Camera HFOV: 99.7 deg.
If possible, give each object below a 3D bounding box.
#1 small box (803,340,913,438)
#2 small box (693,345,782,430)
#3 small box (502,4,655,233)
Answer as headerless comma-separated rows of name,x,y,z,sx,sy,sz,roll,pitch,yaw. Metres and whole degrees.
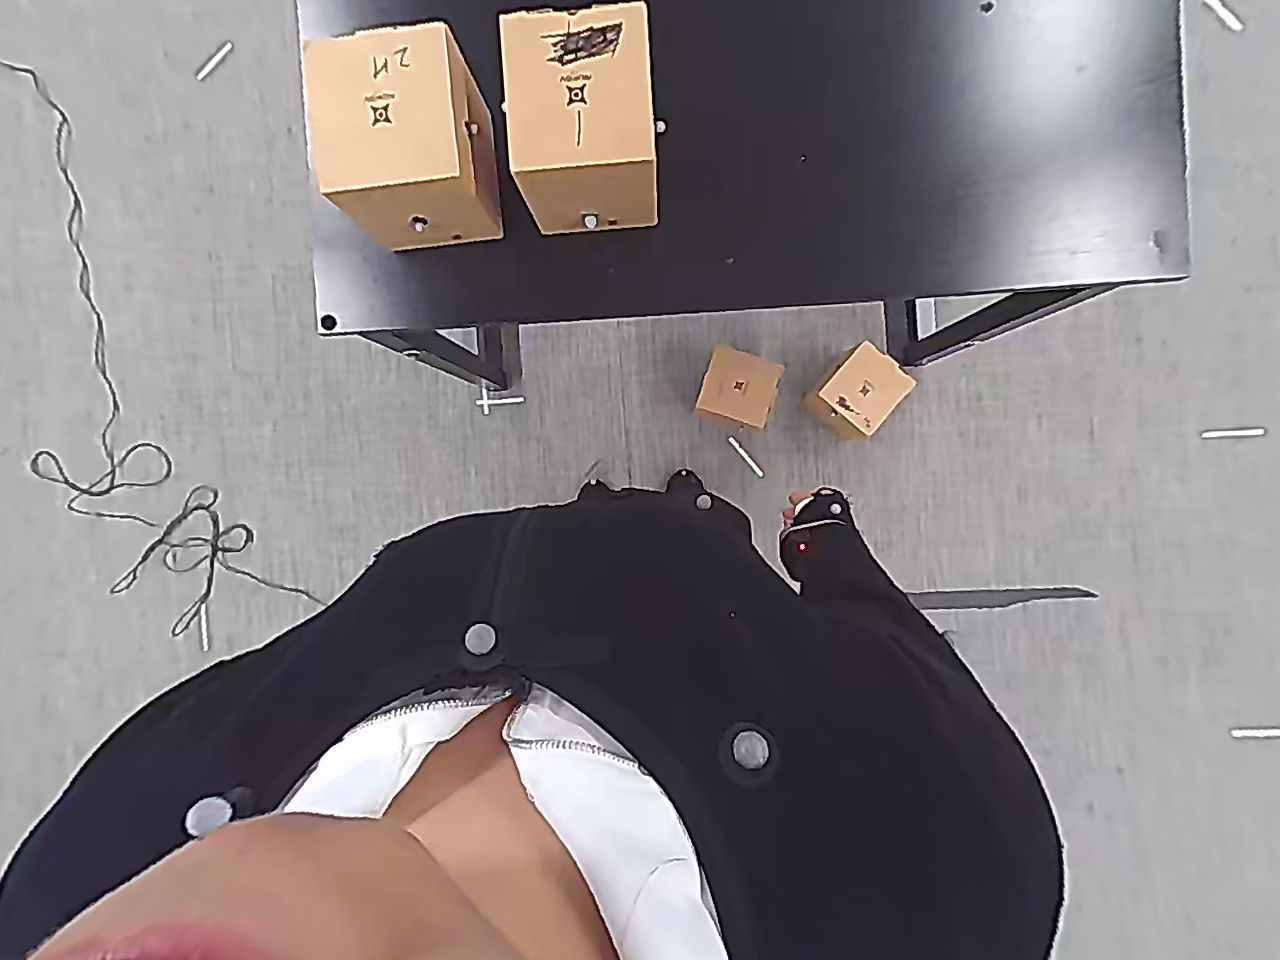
small box,0.548,-0.226,1.387,0.168,0.176,0.179,40,93,1
small box,0.245,-0.233,1.403,0.179,0.176,0.168,18,92,3
small box,-0.067,-0.437,0.680,0.168,0.176,0.179,-3,92,3
